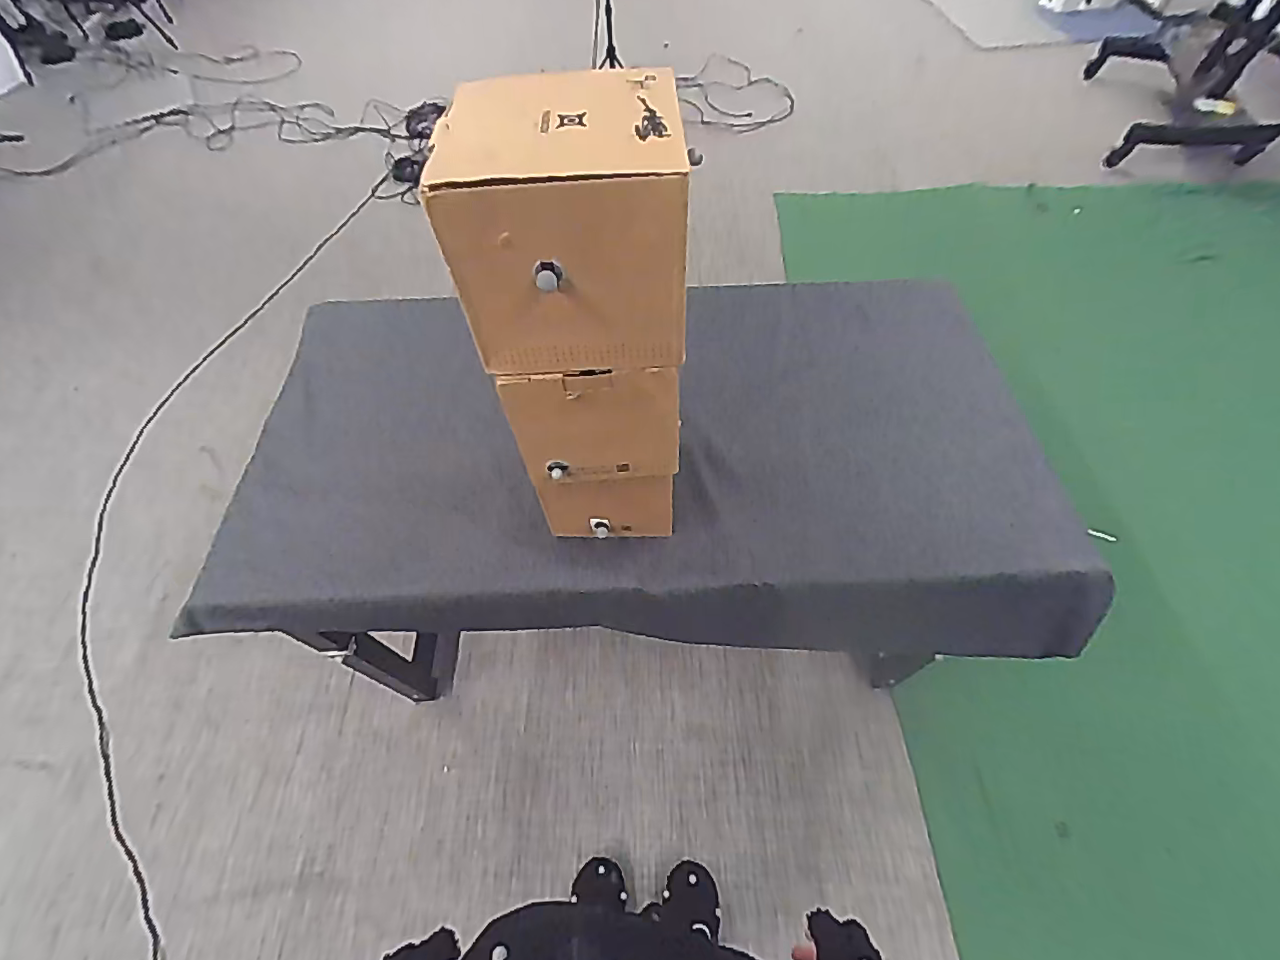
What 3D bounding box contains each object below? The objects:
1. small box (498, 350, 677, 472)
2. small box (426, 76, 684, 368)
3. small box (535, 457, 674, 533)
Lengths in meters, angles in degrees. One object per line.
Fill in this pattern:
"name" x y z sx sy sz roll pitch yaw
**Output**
"small box" -0.052 -0.122 0.599 0.168 0.176 0.179 -8 57 -1
"small box" -0.056 -0.213 0.466 0.179 0.176 0.168 -5 55 0
"small box" -0.039 -0.043 0.743 0.168 0.176 0.179 -2 58 3
